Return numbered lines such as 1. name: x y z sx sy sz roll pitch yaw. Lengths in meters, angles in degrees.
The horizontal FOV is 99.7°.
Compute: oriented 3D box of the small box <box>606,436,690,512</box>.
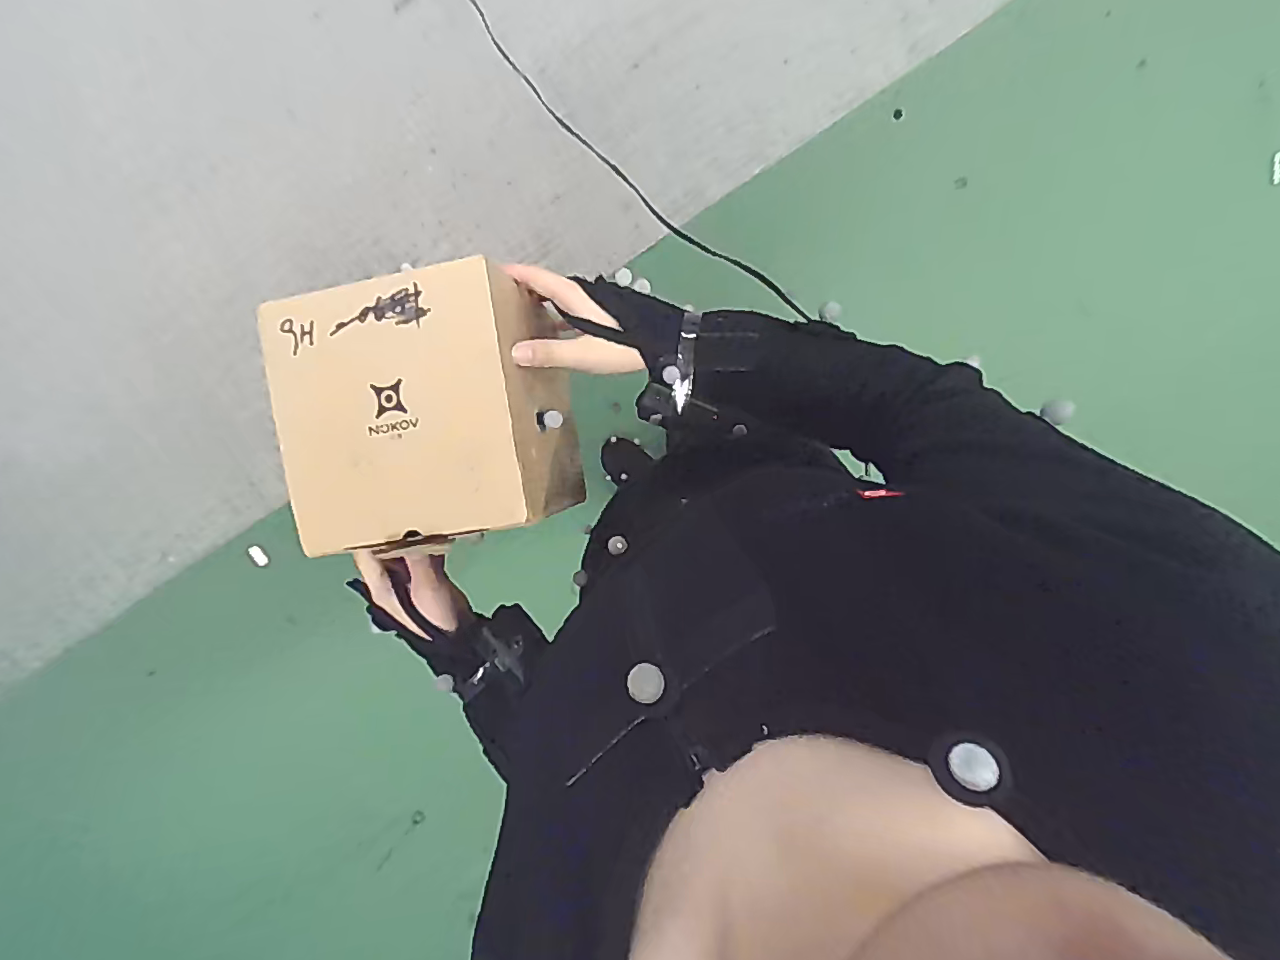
1. small box: 0.022 -0.016 1.319 0.179 0.176 0.168 -6 94 10
